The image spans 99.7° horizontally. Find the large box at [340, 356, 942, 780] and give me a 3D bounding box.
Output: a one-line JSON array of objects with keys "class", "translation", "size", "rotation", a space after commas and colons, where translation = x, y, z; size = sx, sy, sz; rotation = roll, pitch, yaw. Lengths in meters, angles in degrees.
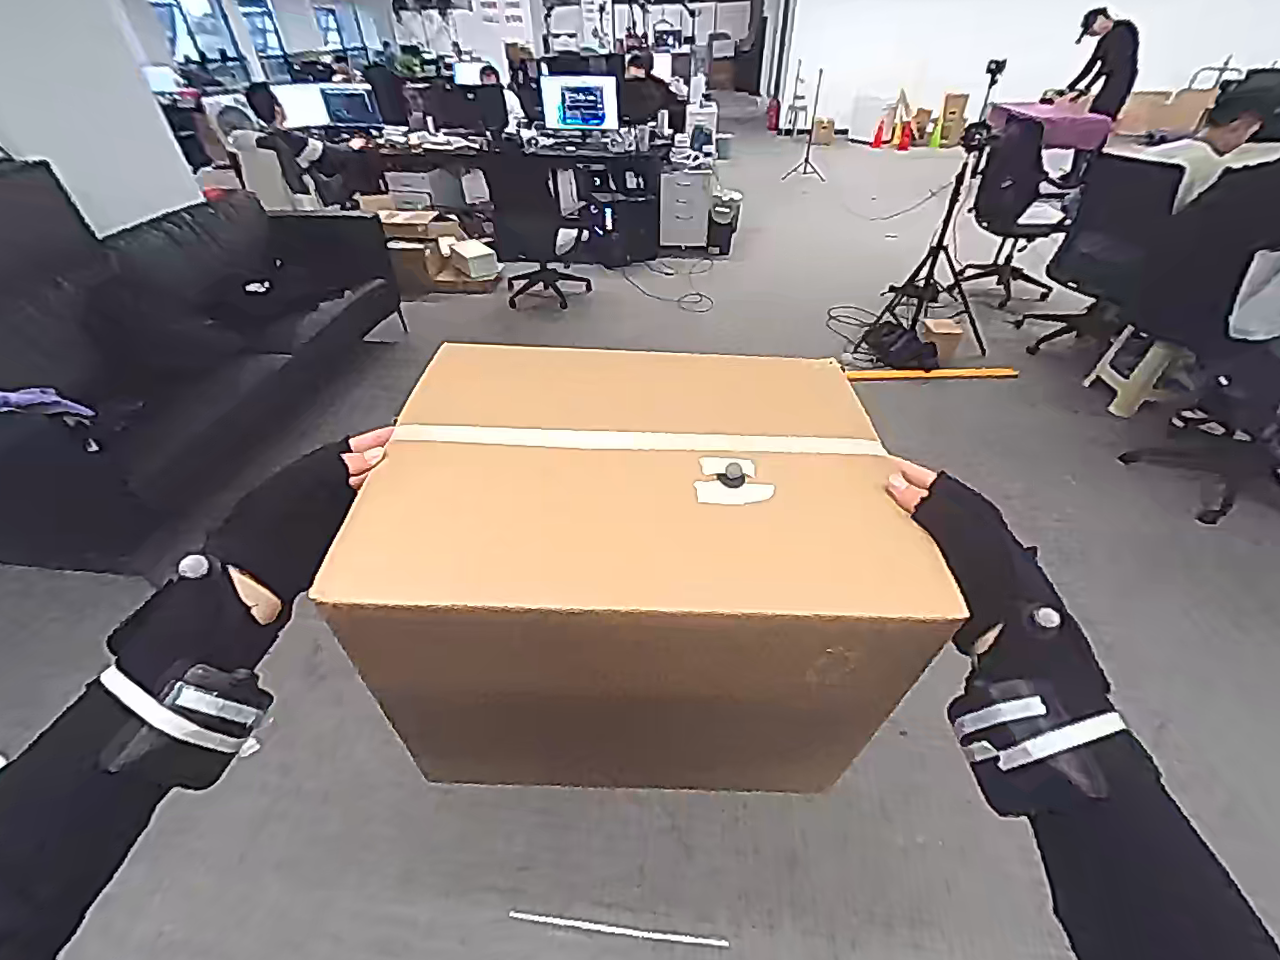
[{"class": "large box", "translation": [-0.006, 0.090, 0.558], "size": [0.408, 0.320, 0.320], "rotation": [3, 42, -2]}]
